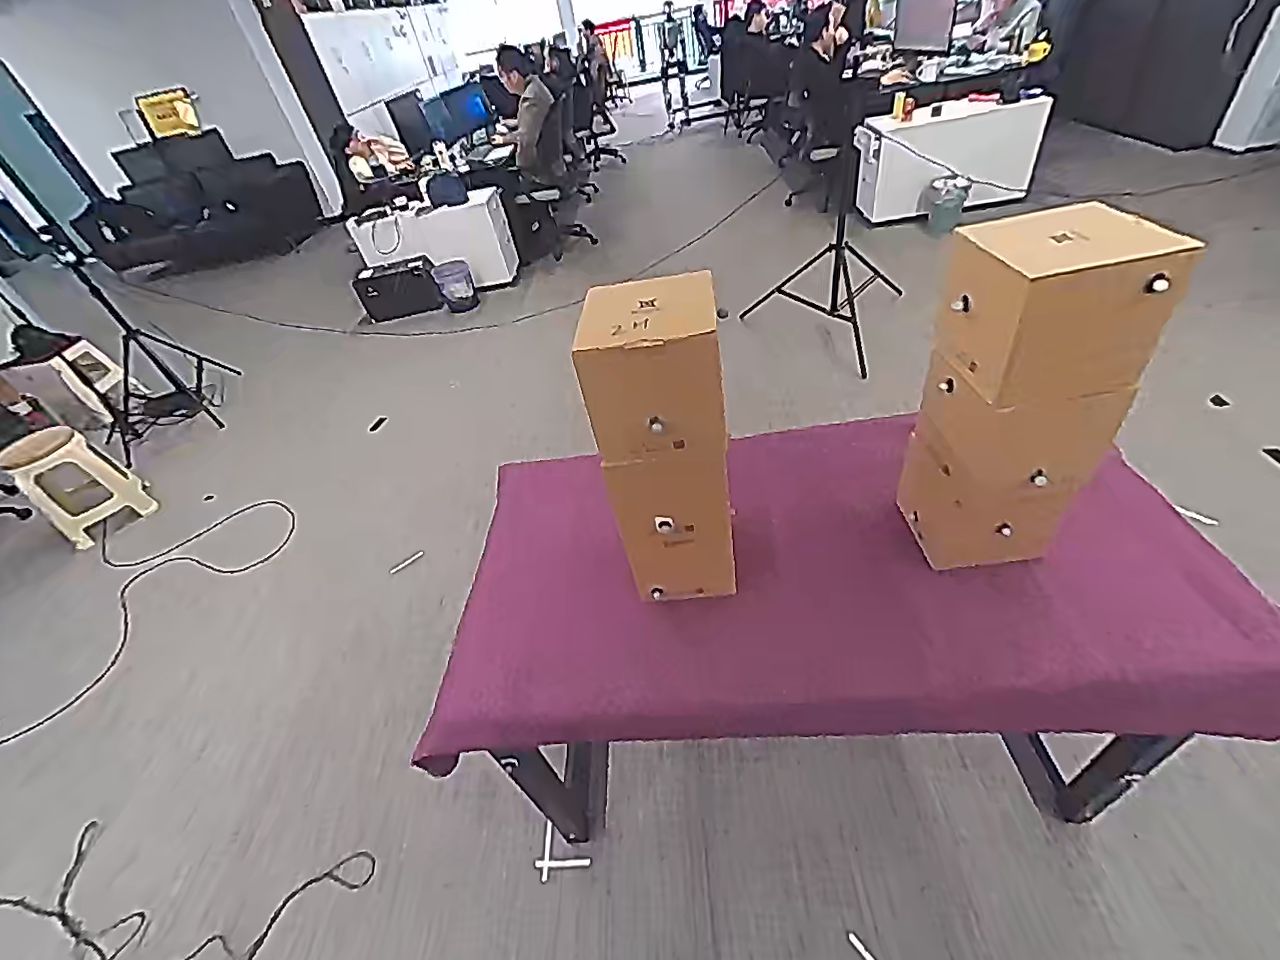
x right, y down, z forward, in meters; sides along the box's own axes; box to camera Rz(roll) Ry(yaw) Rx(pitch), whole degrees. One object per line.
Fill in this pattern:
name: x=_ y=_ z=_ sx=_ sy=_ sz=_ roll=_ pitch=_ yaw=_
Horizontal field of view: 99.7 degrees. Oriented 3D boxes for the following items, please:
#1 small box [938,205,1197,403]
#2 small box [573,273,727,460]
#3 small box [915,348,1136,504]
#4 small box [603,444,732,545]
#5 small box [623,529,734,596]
small box: x=0.494 y=-0.213 z=0.666 sx=0.179 sy=0.176 sz=0.168 roll=-10 pitch=41 yaw=4
small box: x=0.022 y=-0.147 z=0.708 sx=0.168 sy=0.176 sz=0.179 roll=-6 pitch=42 yaw=9
small box: x=0.522 y=-0.088 z=0.767 sx=0.179 sy=0.176 sz=0.168 roll=-10 pitch=41 yaw=3
small box: x=0.045 y=-0.025 z=0.817 sx=0.168 sy=0.176 sz=0.179 roll=-7 pitch=43 yaw=7
small box: x=0.069 y=0.086 z=0.933 sx=0.168 sy=0.176 sz=0.179 roll=-6 pitch=41 yaw=6
